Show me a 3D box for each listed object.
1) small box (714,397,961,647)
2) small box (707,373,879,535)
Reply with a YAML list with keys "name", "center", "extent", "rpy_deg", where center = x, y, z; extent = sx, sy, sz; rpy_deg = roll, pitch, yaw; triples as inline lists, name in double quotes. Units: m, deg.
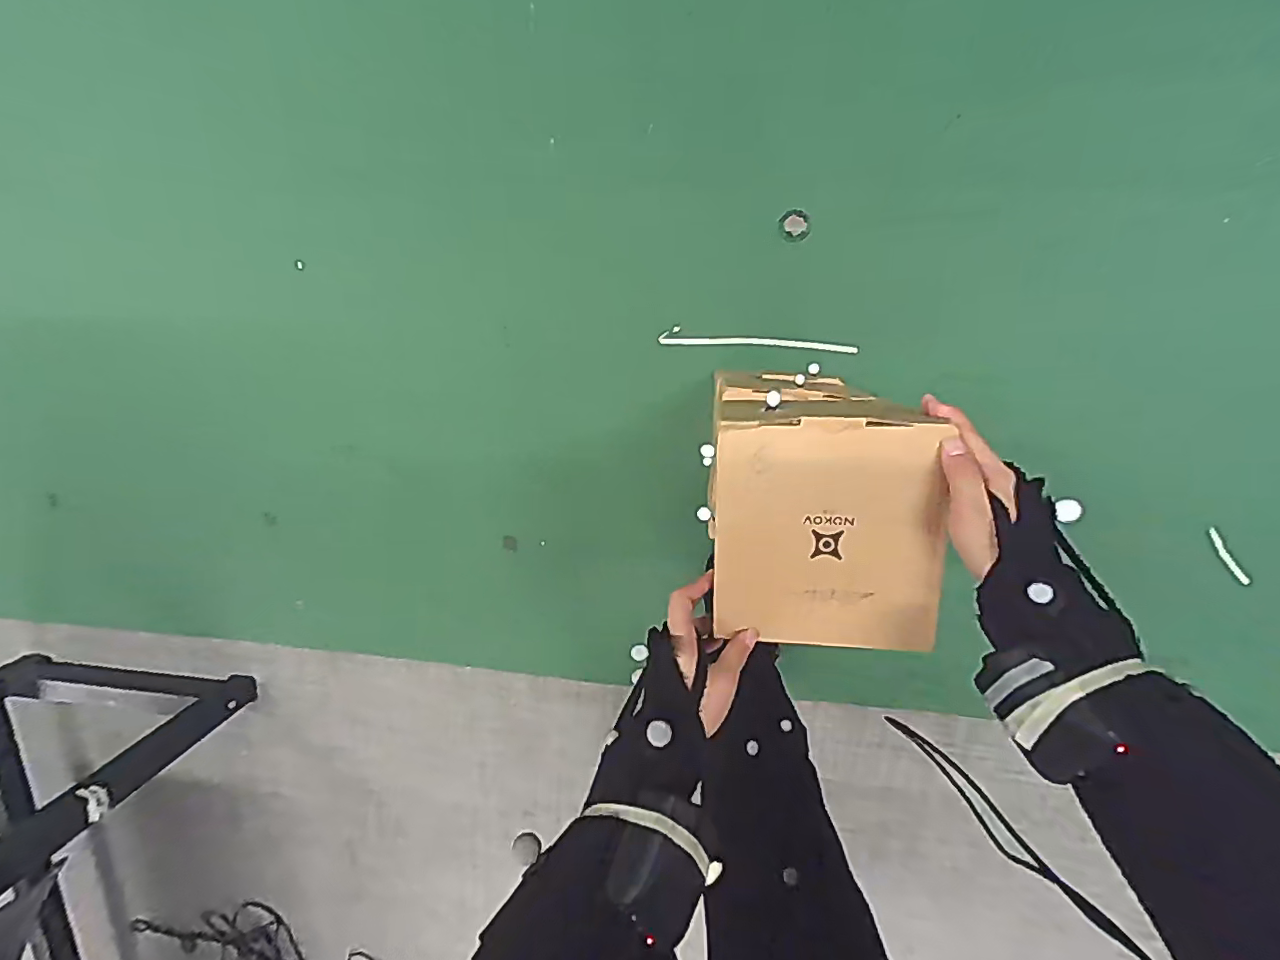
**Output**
- name: "small box"
  center: [0.150, 0.020, 0.470]
  extent: [0.168, 0.176, 0.179]
  rpy_deg: [1, 104, 10]
- name: "small box"
  center: [0.175, -0.032, 0.662]
  extent: [0.168, 0.176, 0.179]
  rpy_deg: [5, 105, 7]
